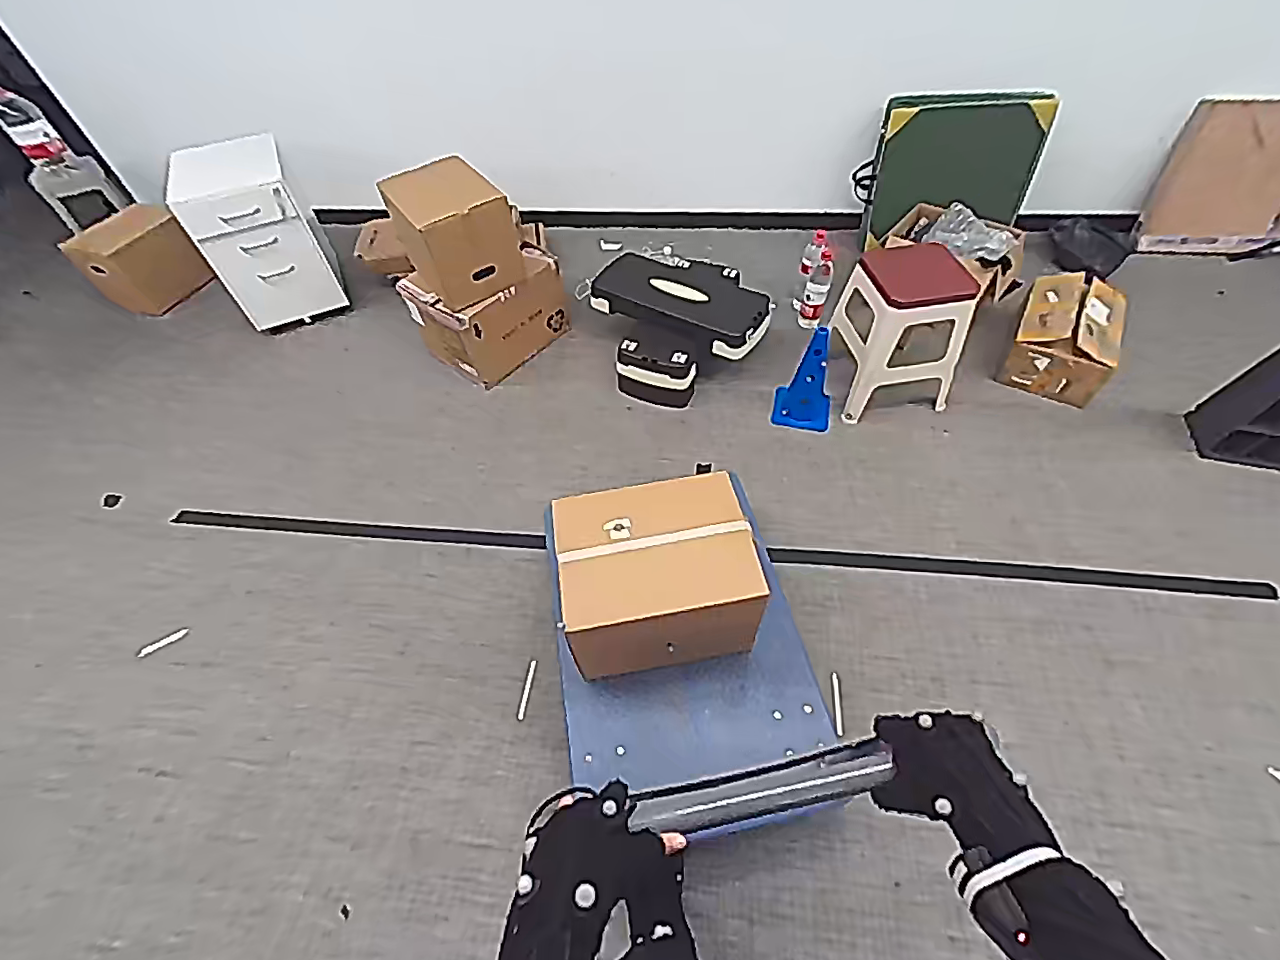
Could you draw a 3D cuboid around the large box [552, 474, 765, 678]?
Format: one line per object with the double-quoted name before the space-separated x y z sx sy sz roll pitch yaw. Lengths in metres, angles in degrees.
"large box" 0.034 0.228 1.249 0.408 0.320 0.320 -10 53 -3
